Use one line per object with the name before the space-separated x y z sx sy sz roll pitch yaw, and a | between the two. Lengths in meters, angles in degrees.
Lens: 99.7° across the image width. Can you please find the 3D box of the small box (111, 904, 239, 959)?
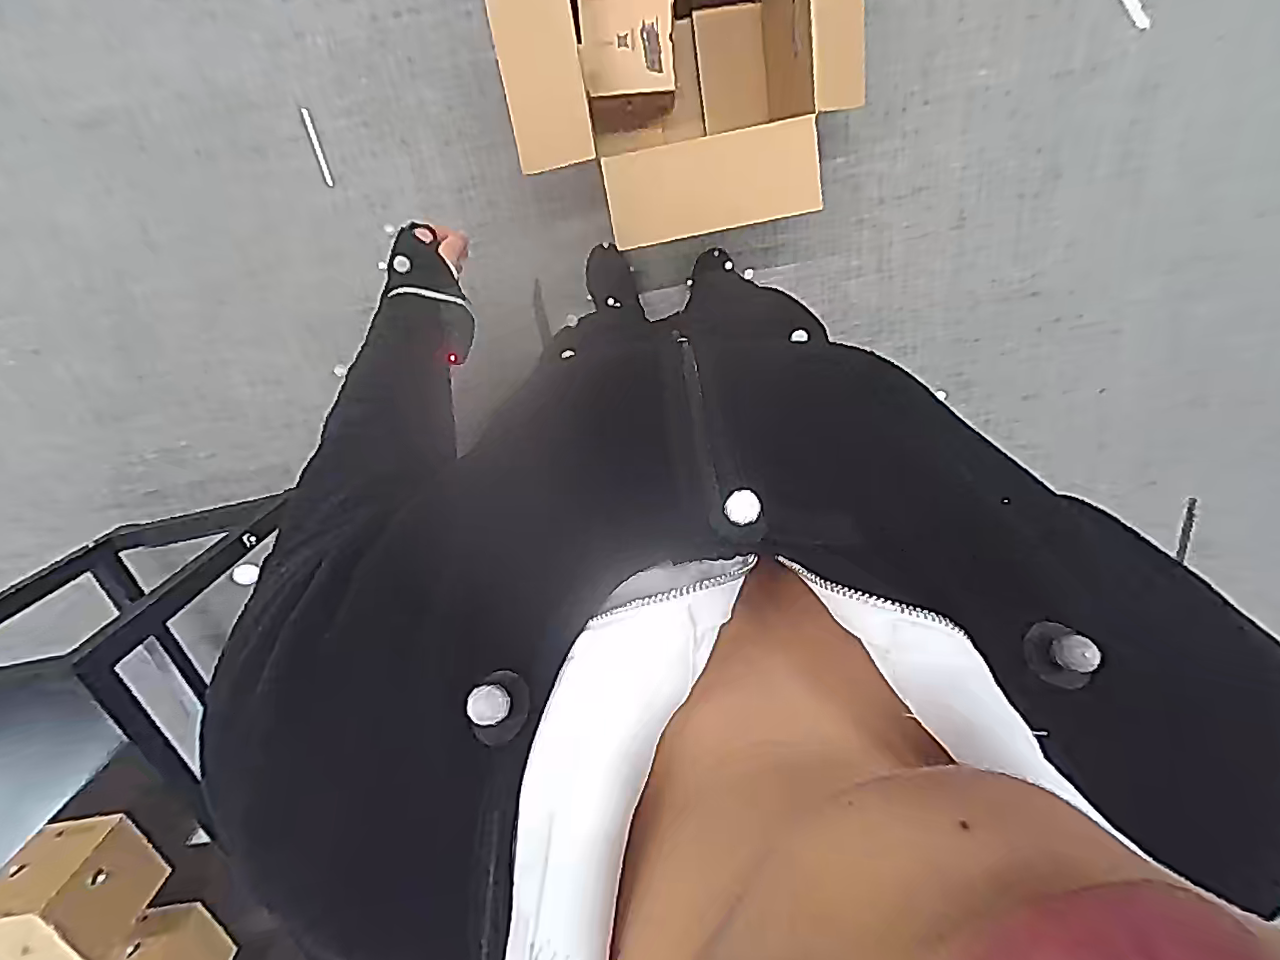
small box | -0.963 0.985 1.081 0.168 0.176 0.179 -9 114 3

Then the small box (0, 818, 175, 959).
small box | -1.011 0.738 0.973 0.168 0.176 0.179 -10 114 4
